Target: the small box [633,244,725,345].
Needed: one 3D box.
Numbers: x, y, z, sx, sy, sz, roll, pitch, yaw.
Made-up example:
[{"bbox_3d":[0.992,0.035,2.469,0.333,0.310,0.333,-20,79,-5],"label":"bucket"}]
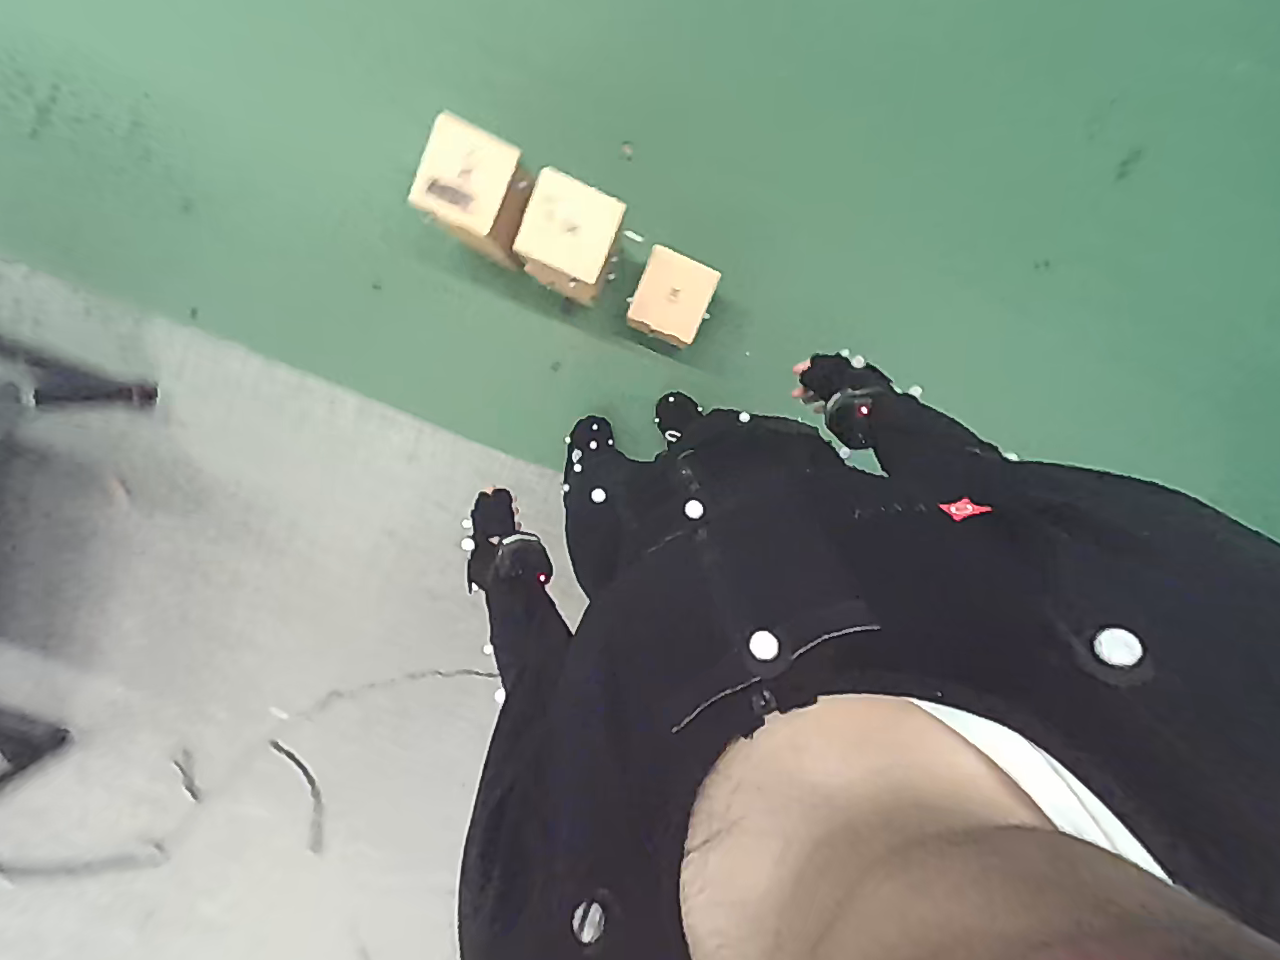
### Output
[{"bbox_3d":[0.088,-0.448,1.333,0.168,0.176,0.179,23,100,-5],"label":"small box"}]
